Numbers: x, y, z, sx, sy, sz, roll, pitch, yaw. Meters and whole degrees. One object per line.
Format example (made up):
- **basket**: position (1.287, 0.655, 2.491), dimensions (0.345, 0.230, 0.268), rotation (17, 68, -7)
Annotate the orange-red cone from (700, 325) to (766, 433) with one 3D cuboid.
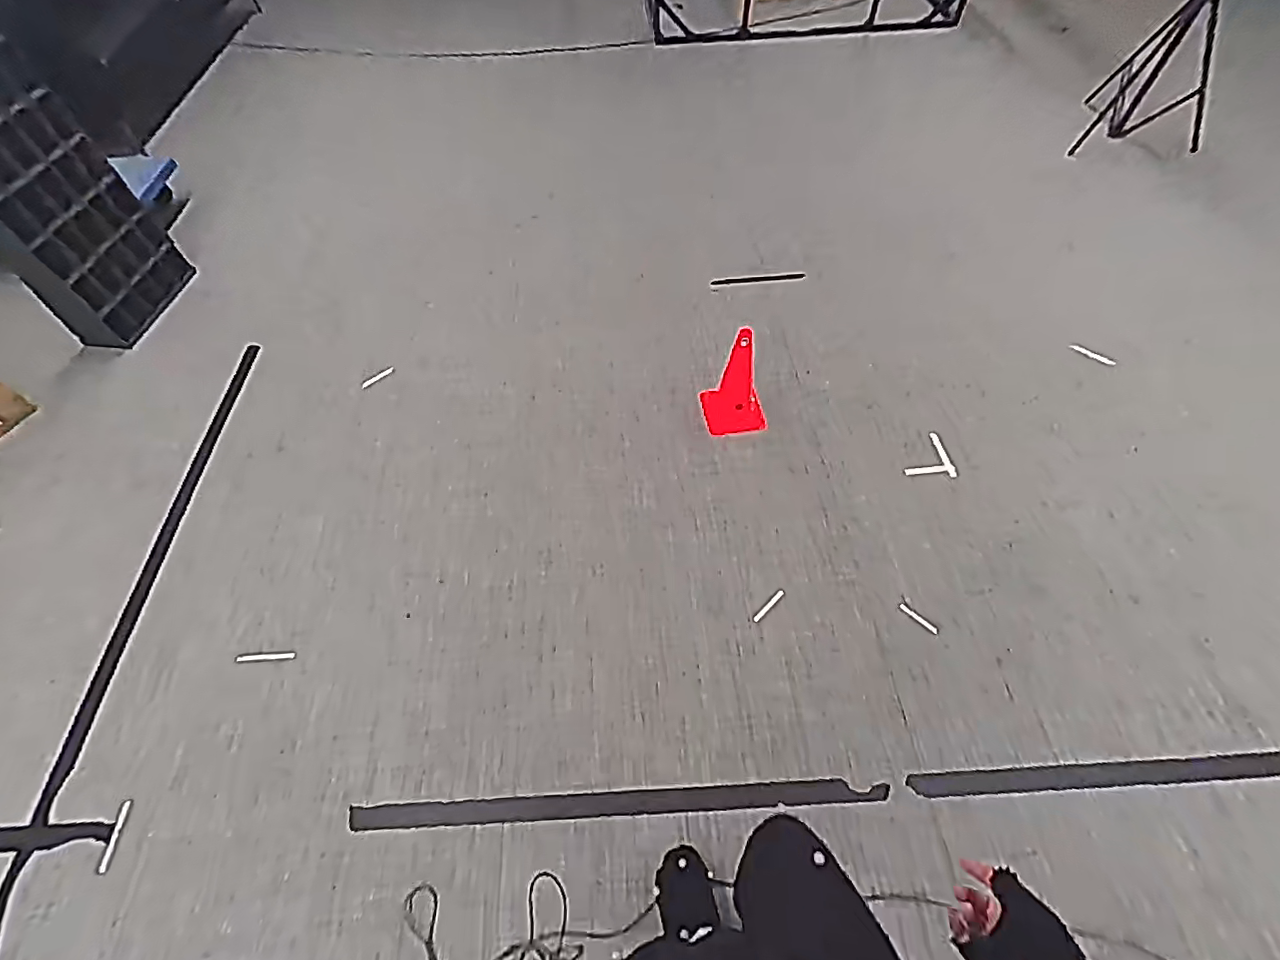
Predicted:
- **orange-red cone**: position (0.308, -0.338, 1.706), dimensions (0.199, 0.360, 0.198), rotation (-8, 57, -2)
